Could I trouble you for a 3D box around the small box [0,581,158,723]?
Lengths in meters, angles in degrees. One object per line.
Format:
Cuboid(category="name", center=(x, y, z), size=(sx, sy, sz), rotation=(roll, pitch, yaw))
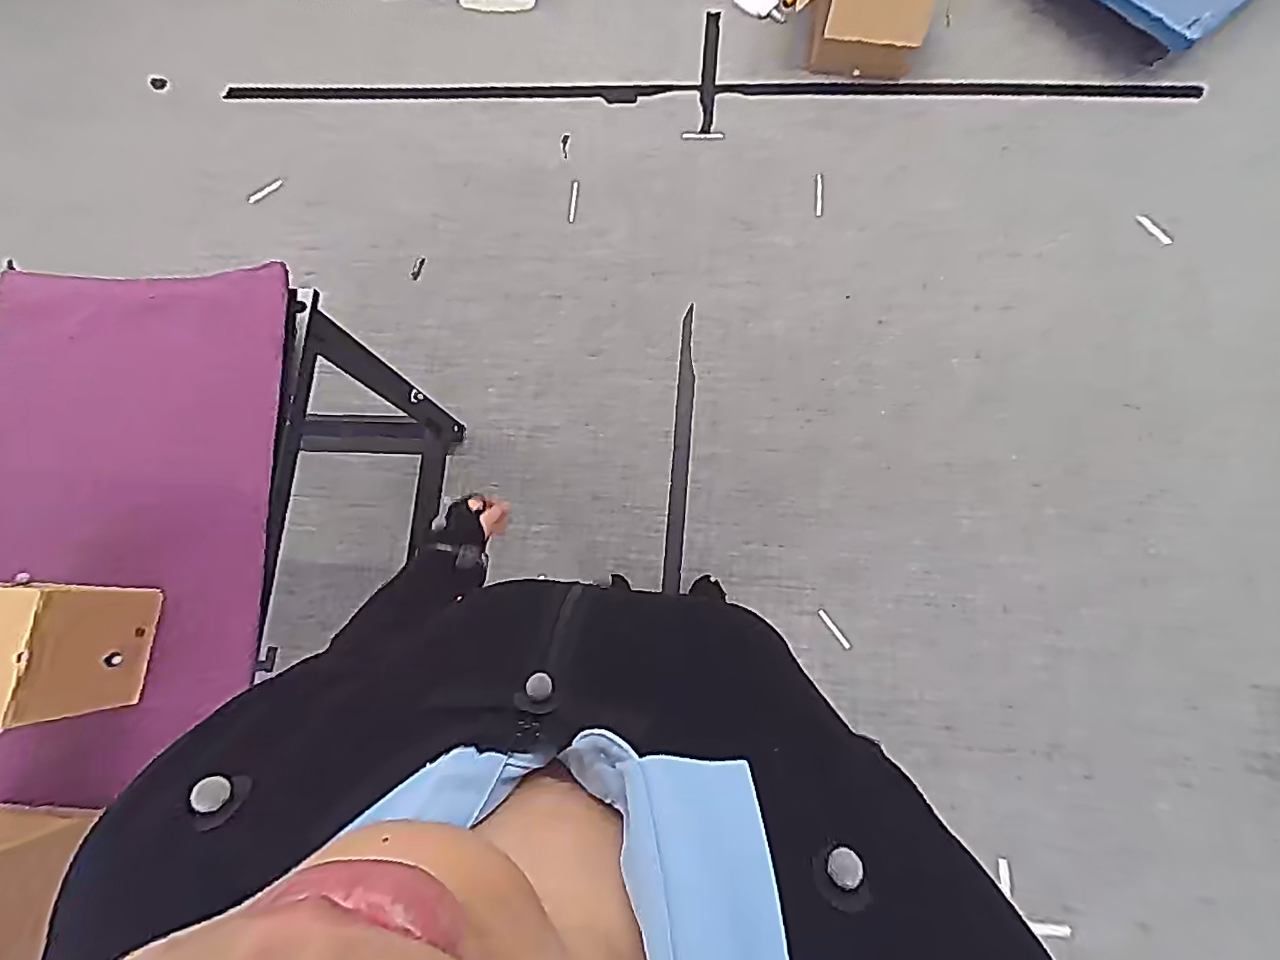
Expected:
Cuboid(category="small box", center=(-0.830, 0.226, 0.738), size=(0.179, 0.176, 0.168), rotation=(2, 77, 3))
